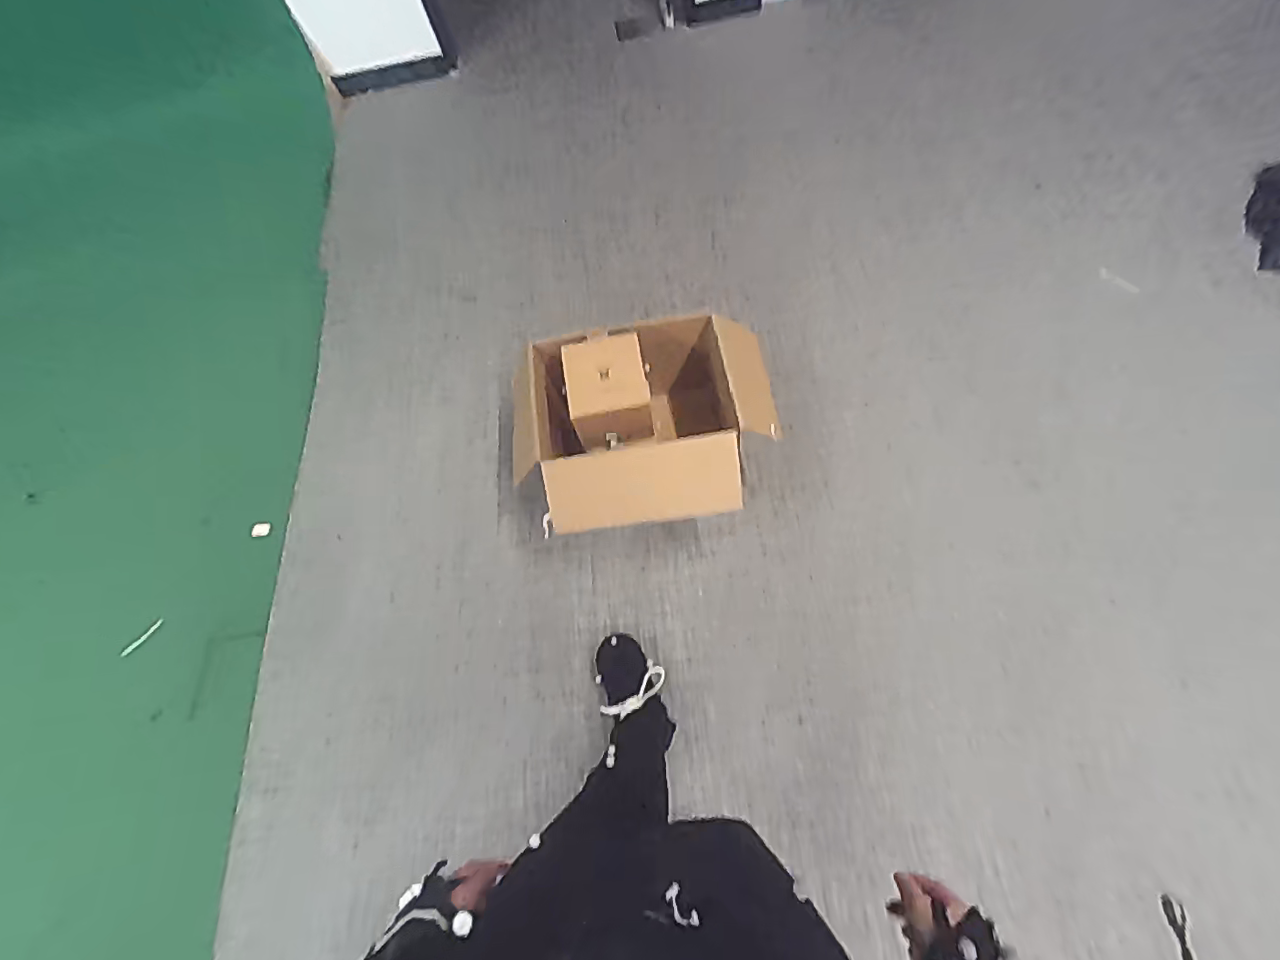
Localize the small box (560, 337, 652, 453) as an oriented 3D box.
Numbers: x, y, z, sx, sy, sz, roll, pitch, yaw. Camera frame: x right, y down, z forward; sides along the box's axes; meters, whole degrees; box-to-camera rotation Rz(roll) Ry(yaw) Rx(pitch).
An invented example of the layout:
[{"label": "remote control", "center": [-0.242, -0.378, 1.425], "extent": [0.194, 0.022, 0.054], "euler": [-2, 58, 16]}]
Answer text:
[{"label": "small box", "center": [-0.071, -0.181, 1.179], "extent": [0.168, 0.176, 0.179], "euler": [-11, 68, 1]}]
